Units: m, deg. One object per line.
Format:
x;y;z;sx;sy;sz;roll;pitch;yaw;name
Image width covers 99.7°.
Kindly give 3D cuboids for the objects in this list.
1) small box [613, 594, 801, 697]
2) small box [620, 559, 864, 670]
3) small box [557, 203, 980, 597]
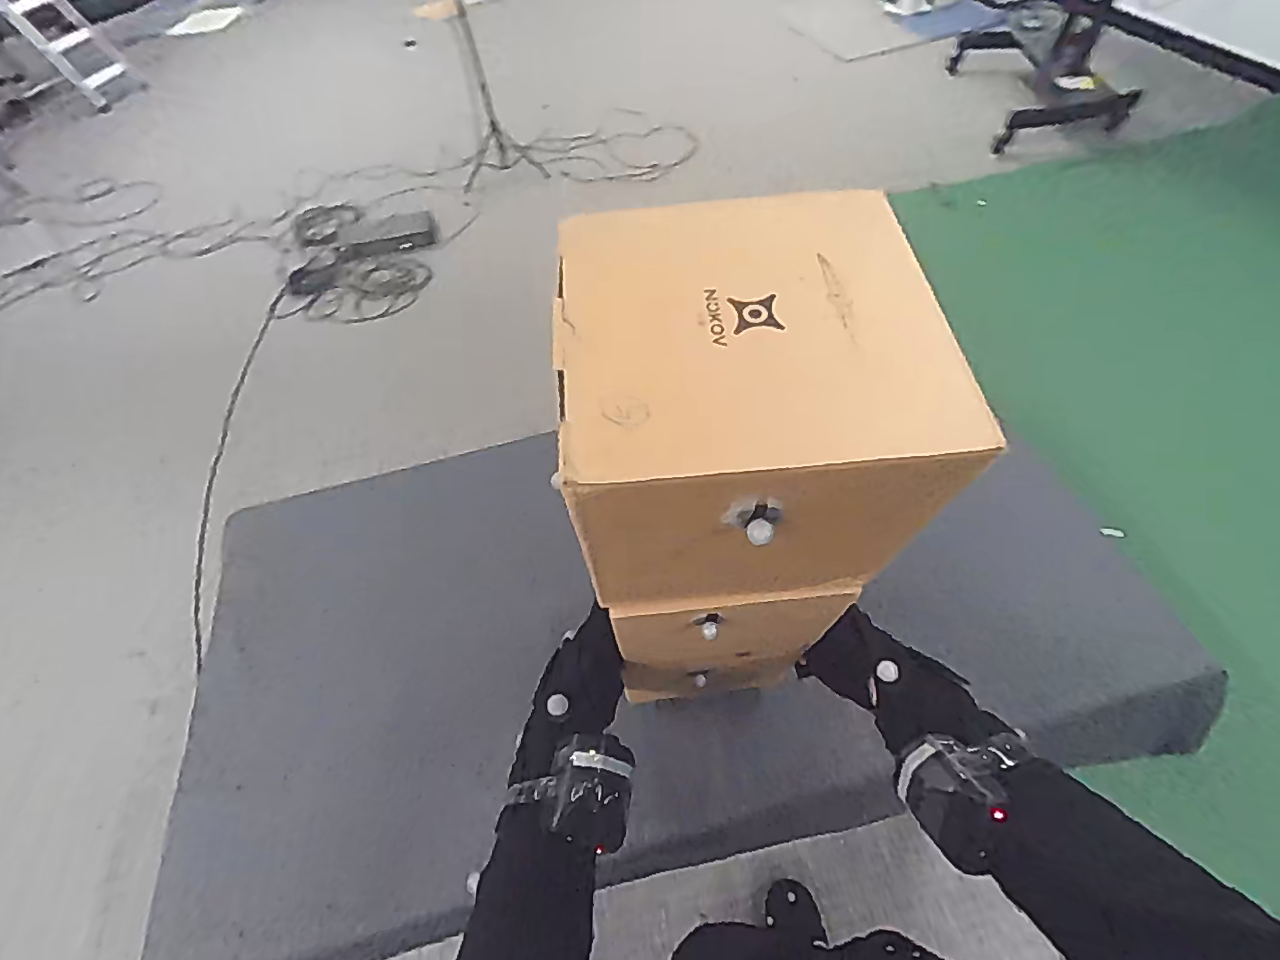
0.063;0.136;0.604;0.179;0.176;0.168;-6;59;-1;small box
0.061;0.050;0.468;0.168;0.176;0.179;-7;60;-3;small box
0.051;-0.035;0.327;0.179;0.176;0.168;-5;61;-1;small box
